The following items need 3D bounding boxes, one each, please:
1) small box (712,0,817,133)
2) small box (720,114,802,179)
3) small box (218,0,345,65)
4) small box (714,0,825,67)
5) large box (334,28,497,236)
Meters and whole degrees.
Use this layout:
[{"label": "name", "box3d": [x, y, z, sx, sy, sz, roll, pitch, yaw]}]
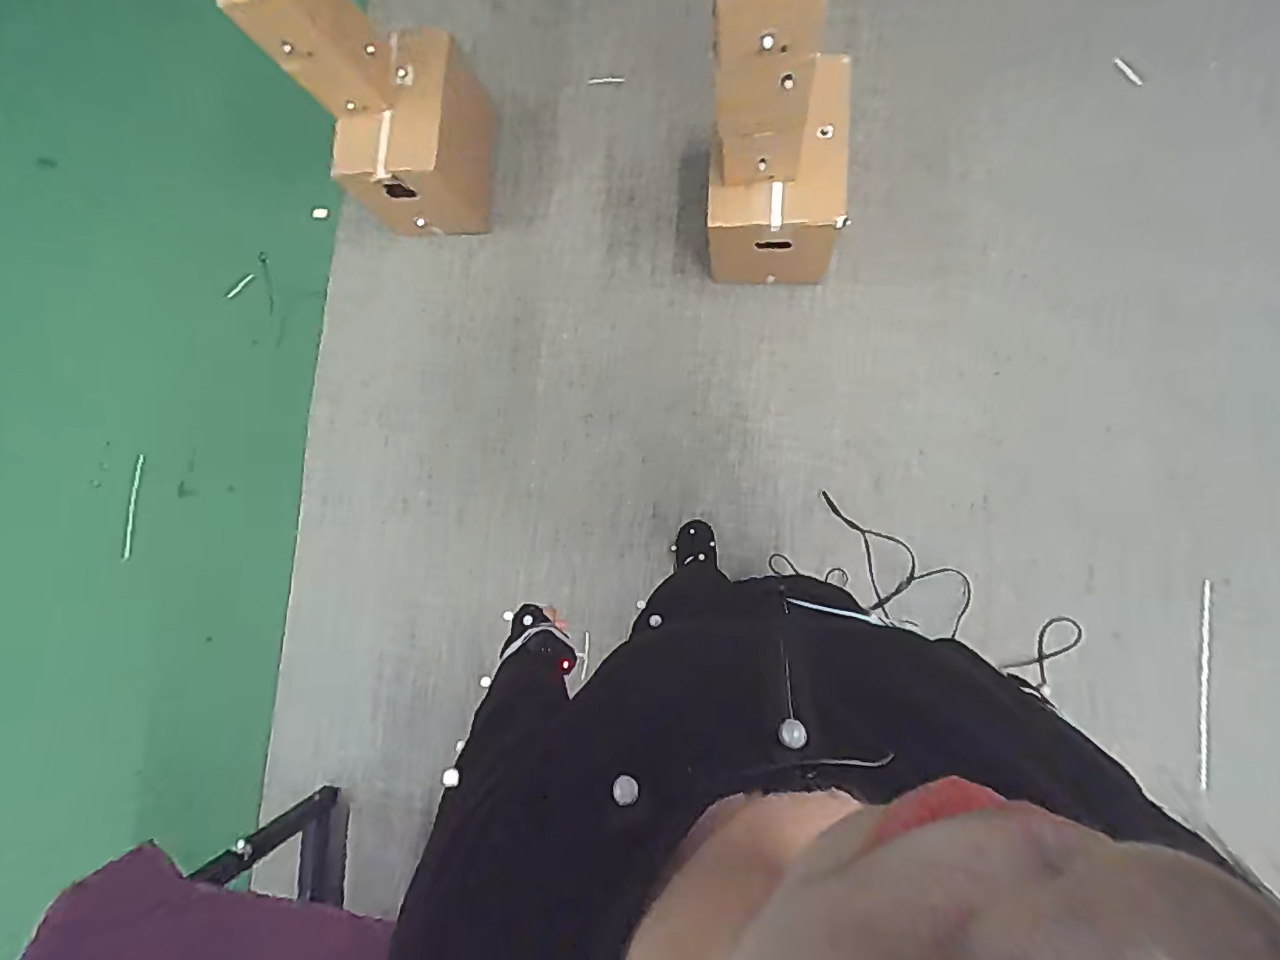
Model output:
[{"label": "small box", "box3d": [0.227, -0.786, 1.006, 0.179, 0.176, 0.168, 0, 85, 12]}, {"label": "small box", "box3d": [0.261, -0.778, 1.168, 0.168, 0.176, 0.179, 0, 86, 12]}, {"label": "small box", "box3d": [-0.794, -1.085, 1.213, 0.168, 0.176, 0.179, 3, 87, 14]}, {"label": "small box", "box3d": [0.198, -0.804, 0.845, 0.168, 0.176, 0.179, -3, 86, 11]}, {"label": "large box", "box3d": [-0.639, -0.994, 1.592, 0.320, 0.320, 0.408, 3, 85, 11]}]
